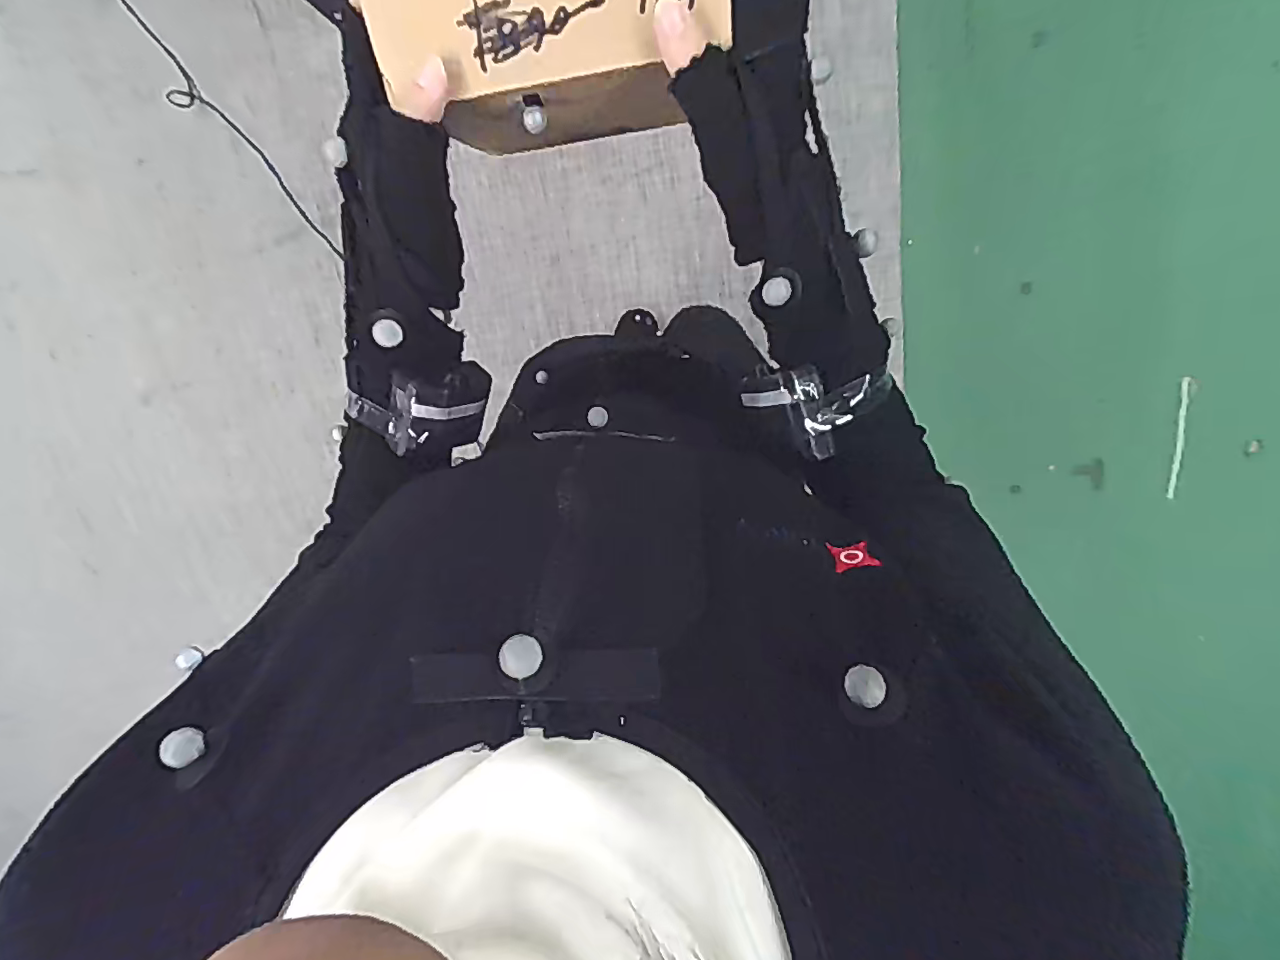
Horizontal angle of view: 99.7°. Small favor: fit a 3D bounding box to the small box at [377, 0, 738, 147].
[{"bbox_3d":[-0.049,-0.309,0.296,0.168,0.176,0.179,-10,114,4],"label":"small box"}]
